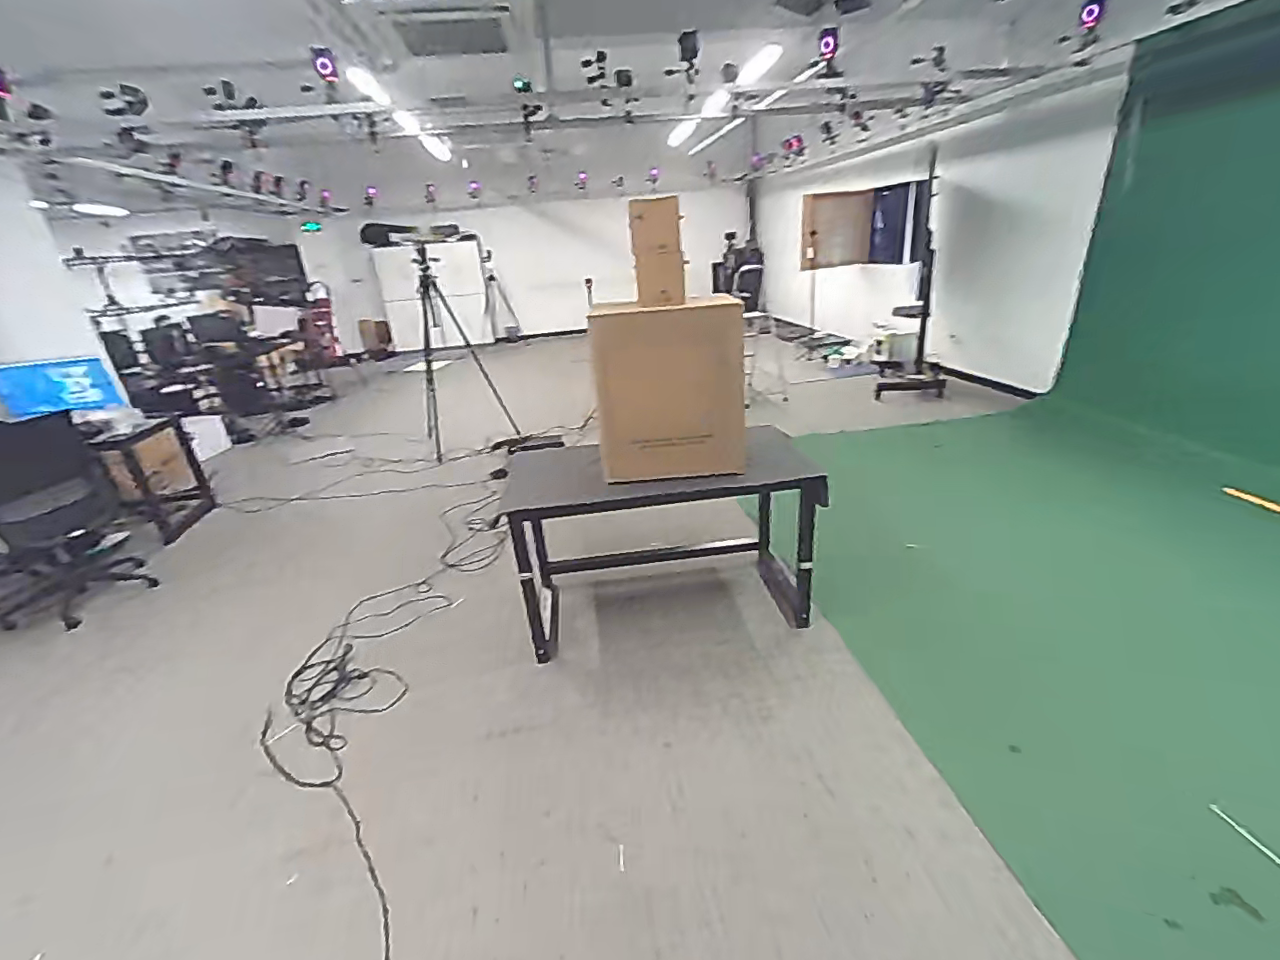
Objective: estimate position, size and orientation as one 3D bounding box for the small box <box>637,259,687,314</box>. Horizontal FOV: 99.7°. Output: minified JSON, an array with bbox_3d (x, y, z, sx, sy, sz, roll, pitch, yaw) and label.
[{"bbox_3d":[0.080,-0.683,1.908,0.168,0.176,0.179,-2,25,5],"label":"small box"}]
